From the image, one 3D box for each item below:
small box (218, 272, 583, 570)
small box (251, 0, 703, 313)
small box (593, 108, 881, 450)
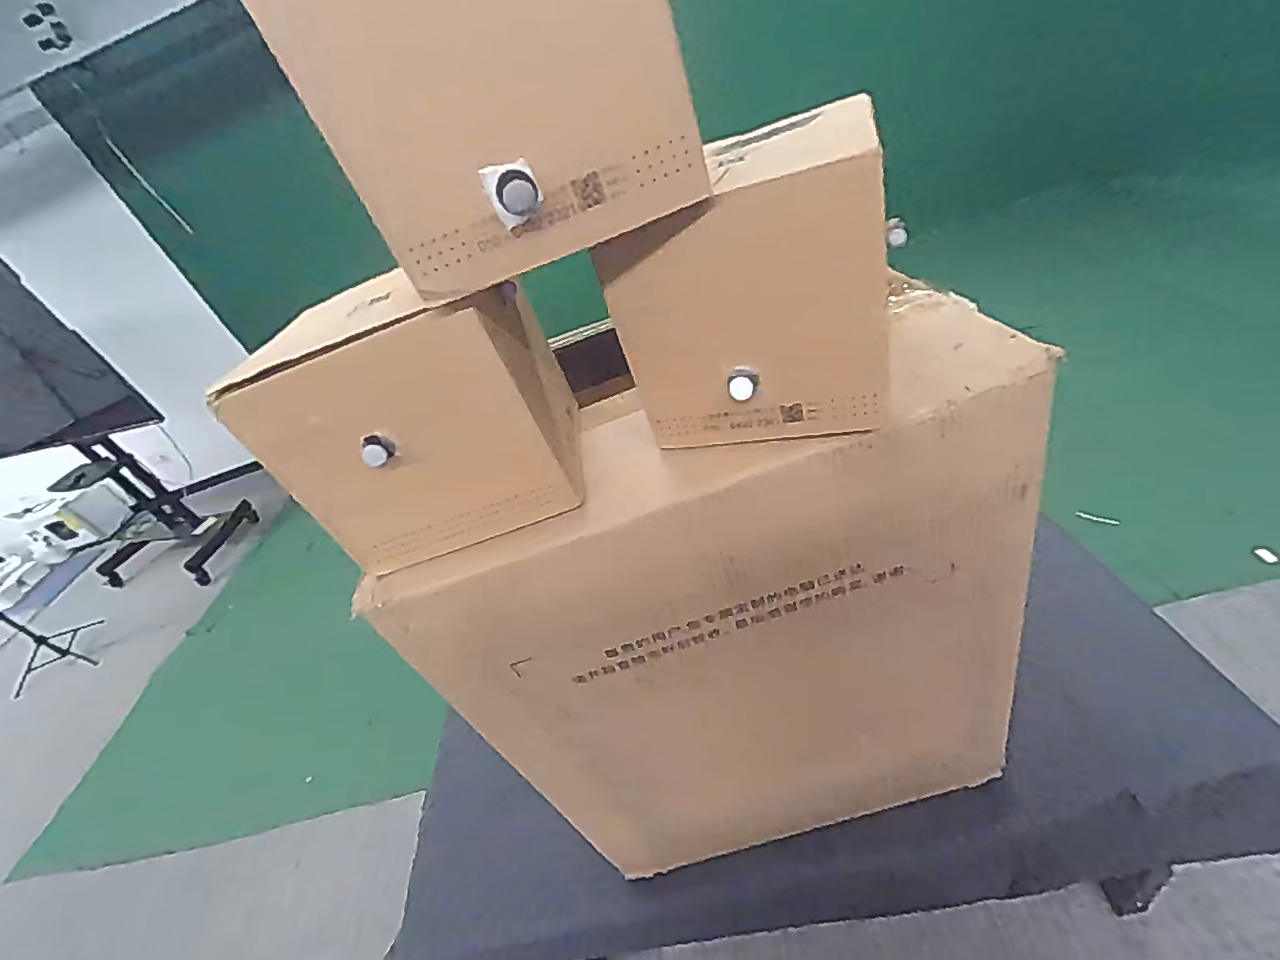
[{"bbox_3d":[-0.160,-0.056,0.429,0.179,0.176,0.168,-20,36,6],"label":"small box"},{"bbox_3d":[-0.078,-0.222,0.317,0.168,0.176,0.179,-22,37,4],"label":"small box"},{"bbox_3d":[0.084,-0.143,0.404,0.168,0.176,0.179,-5,40,24],"label":"small box"}]
